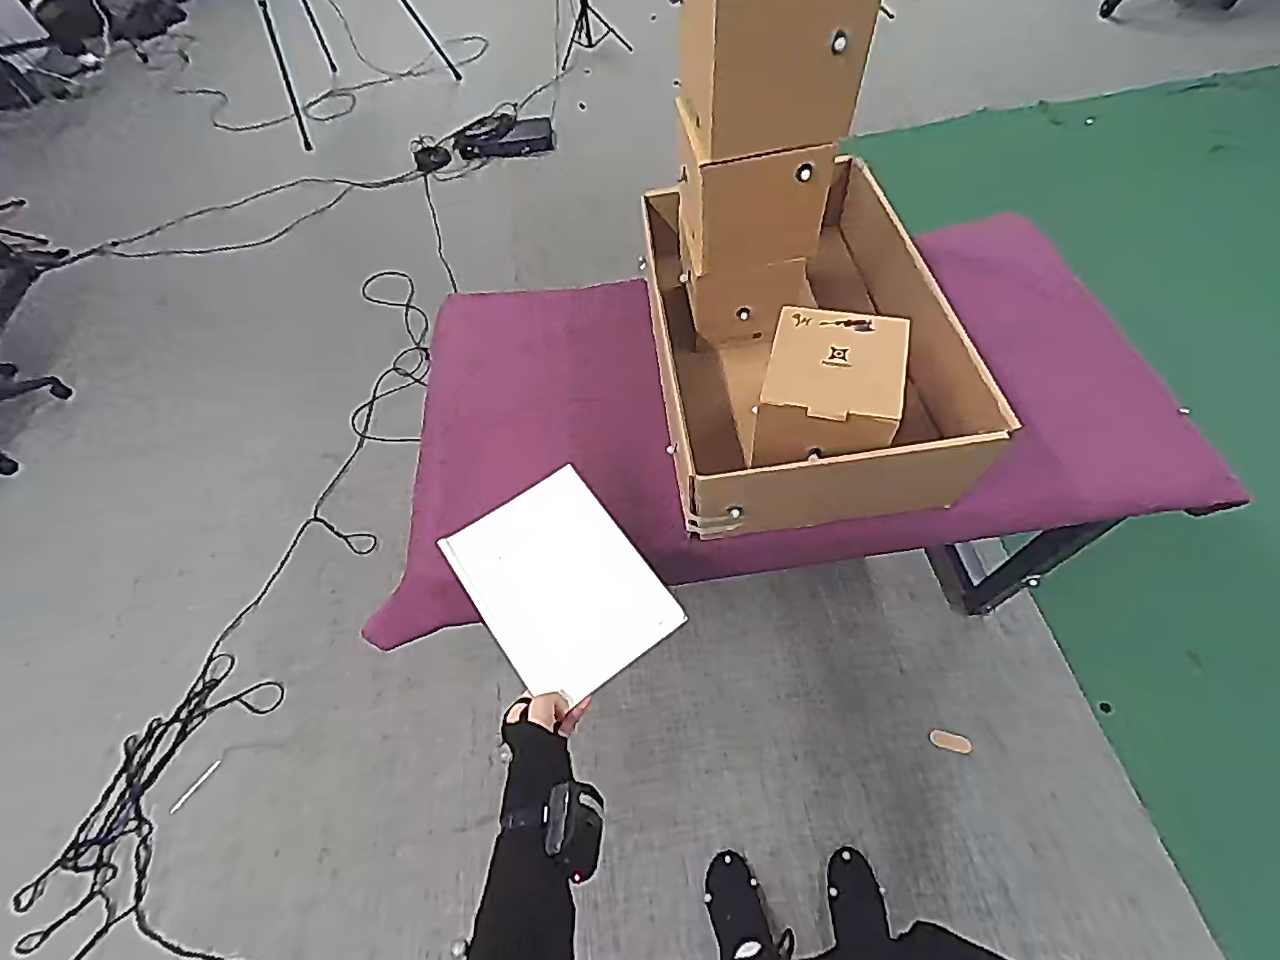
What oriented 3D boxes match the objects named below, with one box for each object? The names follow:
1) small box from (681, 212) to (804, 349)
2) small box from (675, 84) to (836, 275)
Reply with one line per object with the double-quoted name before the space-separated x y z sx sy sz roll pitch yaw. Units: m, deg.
"small box" 0.164 -0.337 0.907 0.168 0.176 0.179 -8 60 2
"small box" 0.153 -0.416 0.767 0.179 0.176 0.168 -10 60 1
